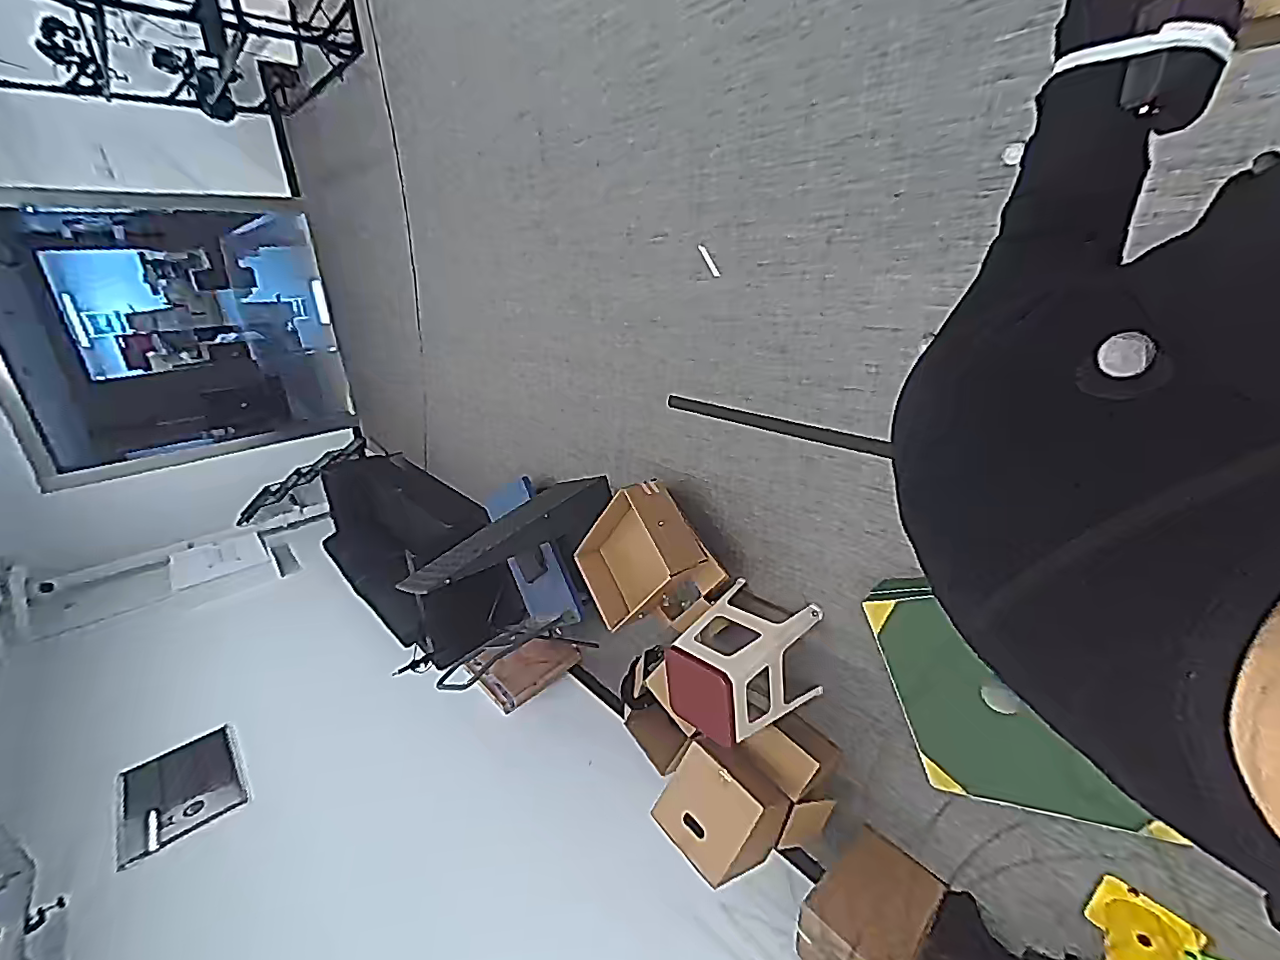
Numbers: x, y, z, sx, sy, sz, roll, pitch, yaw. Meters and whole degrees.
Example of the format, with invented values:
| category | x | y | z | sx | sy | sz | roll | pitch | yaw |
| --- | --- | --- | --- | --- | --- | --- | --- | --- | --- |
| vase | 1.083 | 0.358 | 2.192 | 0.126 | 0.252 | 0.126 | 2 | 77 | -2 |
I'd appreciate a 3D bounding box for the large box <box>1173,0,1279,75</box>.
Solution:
| category | x | y | z | sx | sy | sz | roll | pitch | yaw |
| --- | --- | --- | --- | --- | --- | --- | --- | --- | --- |
| large box | 0.584 | -0.441 | 0.263 | 0.408 | 0.320 | 0.320 | 18 | 128 | 41 |
